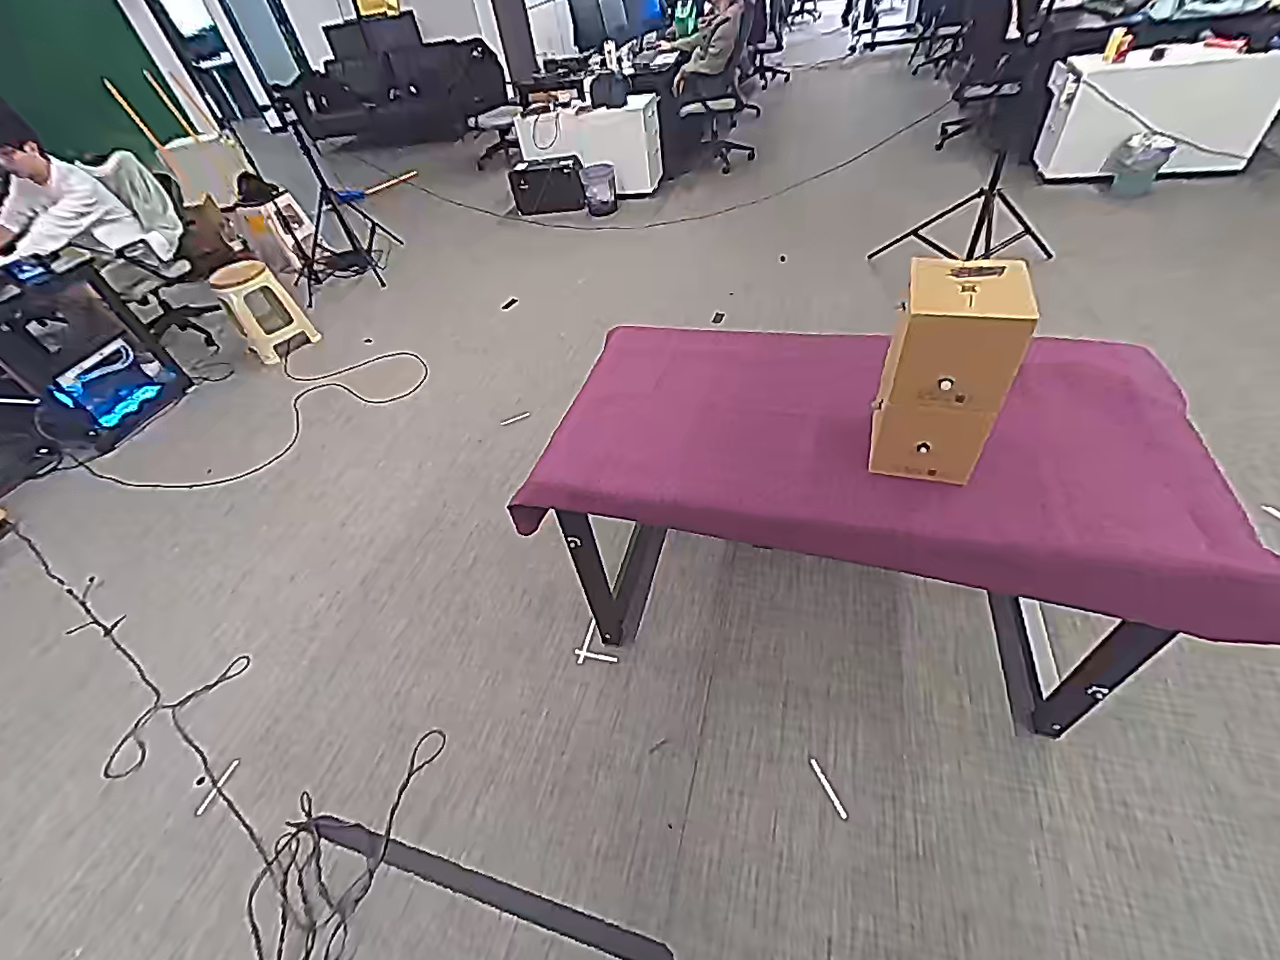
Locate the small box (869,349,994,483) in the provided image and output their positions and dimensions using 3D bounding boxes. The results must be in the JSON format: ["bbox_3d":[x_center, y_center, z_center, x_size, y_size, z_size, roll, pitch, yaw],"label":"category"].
[{"bbox_3d":[0.524,-0.117,0.991,0.168,0.176,0.179,10,48,18],"label":"small box"}]

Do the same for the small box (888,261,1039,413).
[{"bbox_3d":[0.508,-0.233,0.876,0.168,0.176,0.179,9,49,18],"label":"small box"}]
